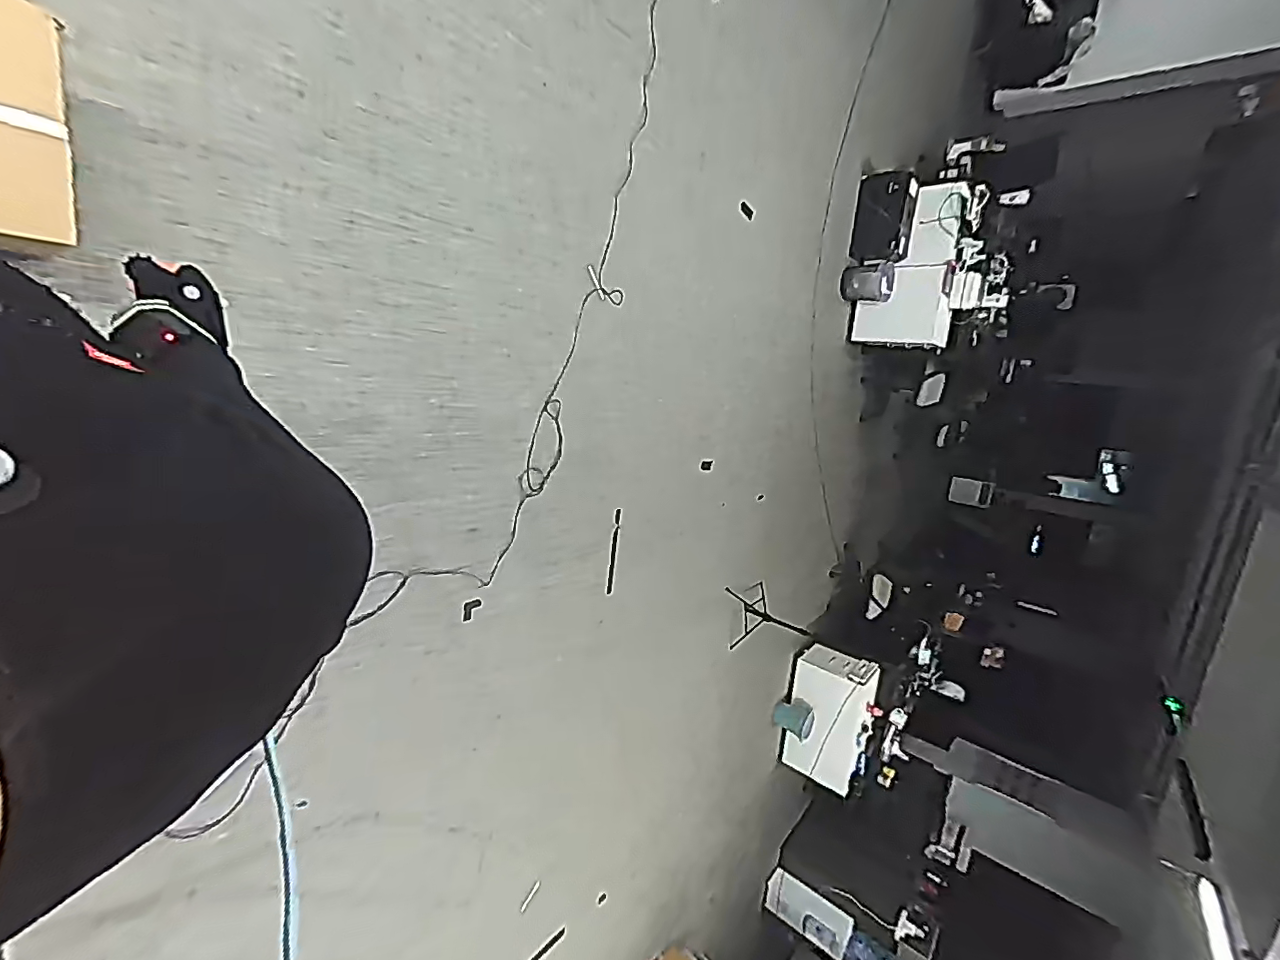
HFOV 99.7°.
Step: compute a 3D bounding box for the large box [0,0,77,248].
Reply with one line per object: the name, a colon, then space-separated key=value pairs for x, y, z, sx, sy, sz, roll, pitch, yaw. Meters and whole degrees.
large box: x=-1.076 y=-0.523 z=0.719 sx=0.408 sy=0.320 sz=0.320 roll=-8 pitch=108 yaw=-52
